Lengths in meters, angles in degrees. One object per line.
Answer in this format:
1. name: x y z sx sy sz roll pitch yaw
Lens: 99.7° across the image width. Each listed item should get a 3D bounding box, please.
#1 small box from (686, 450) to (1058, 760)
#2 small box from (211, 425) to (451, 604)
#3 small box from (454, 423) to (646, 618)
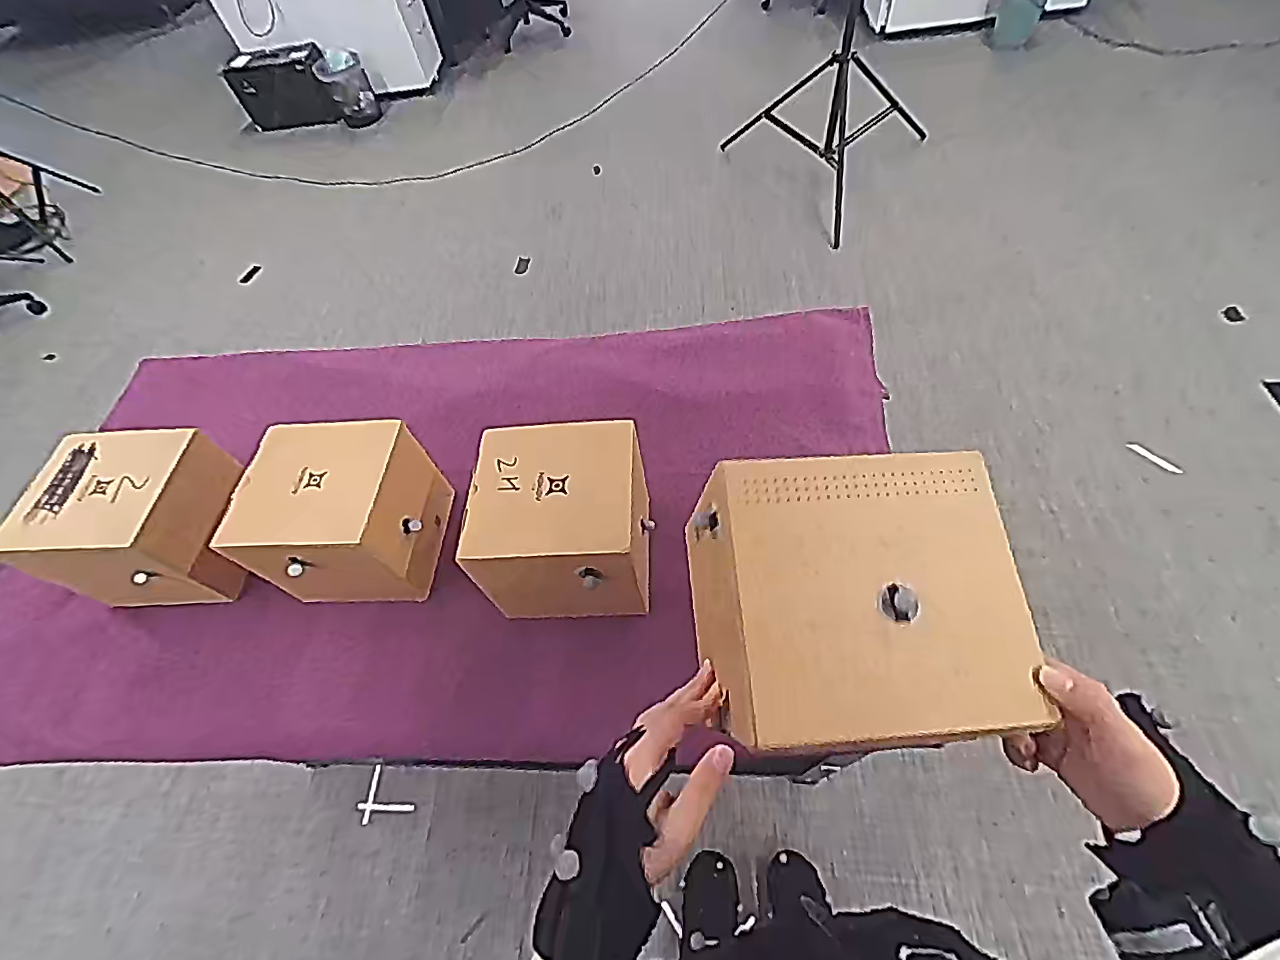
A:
1. small box: 0.132 0.086 0.387 0.179 0.168 0.176 -5 73 -3
2. small box: -0.360 0.049 0.675 0.179 0.176 0.168 -2 57 7
3. small box: -0.086 0.054 0.628 0.179 0.176 0.168 -3 55 6
